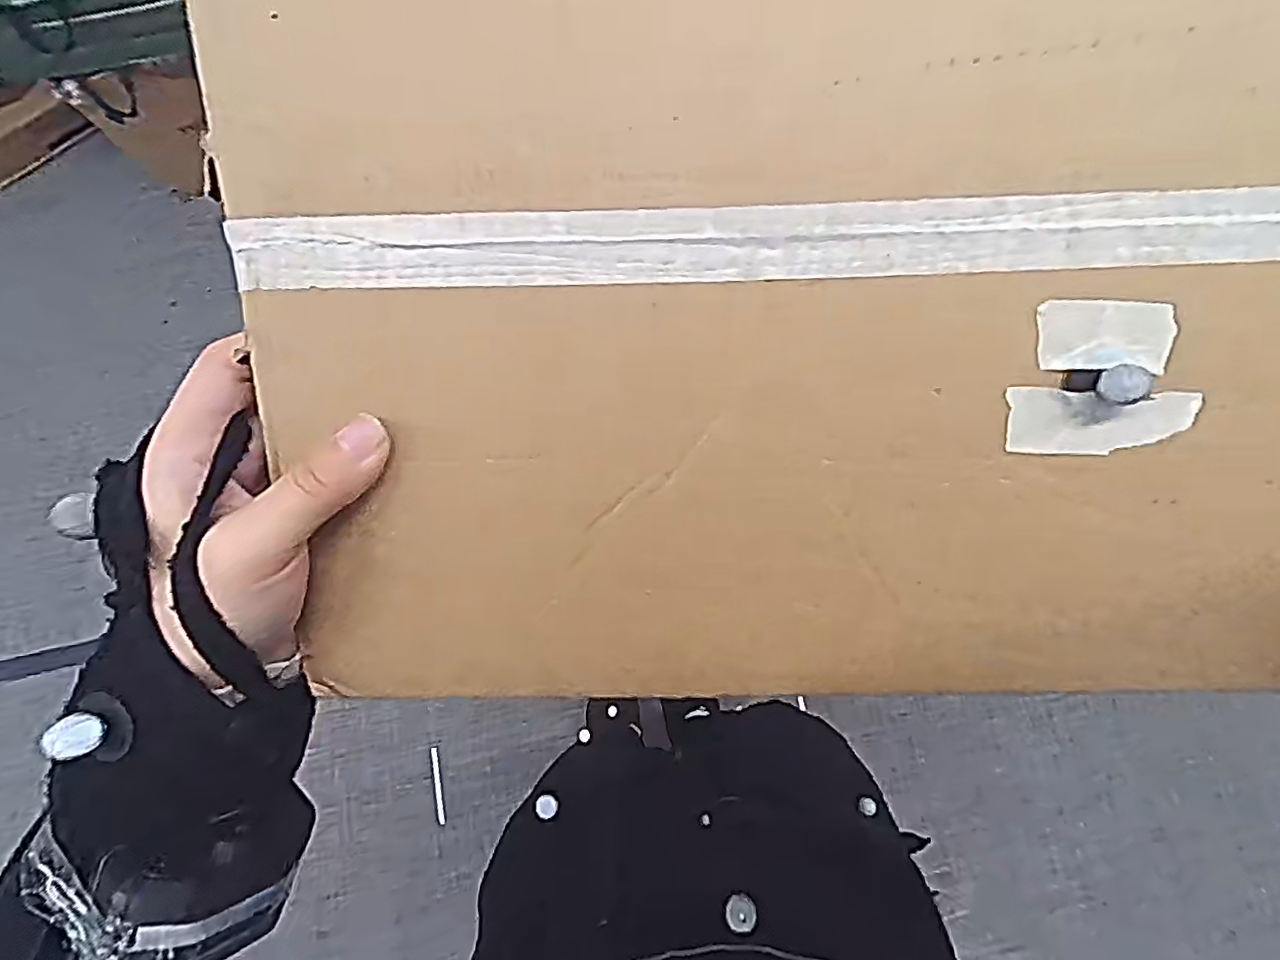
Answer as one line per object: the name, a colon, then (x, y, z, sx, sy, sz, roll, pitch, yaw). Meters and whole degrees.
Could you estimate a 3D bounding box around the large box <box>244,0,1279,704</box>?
large box: (0.079, -0.099, 0.324, 0.408, 0.320, 0.320, -2, 102, 1)
